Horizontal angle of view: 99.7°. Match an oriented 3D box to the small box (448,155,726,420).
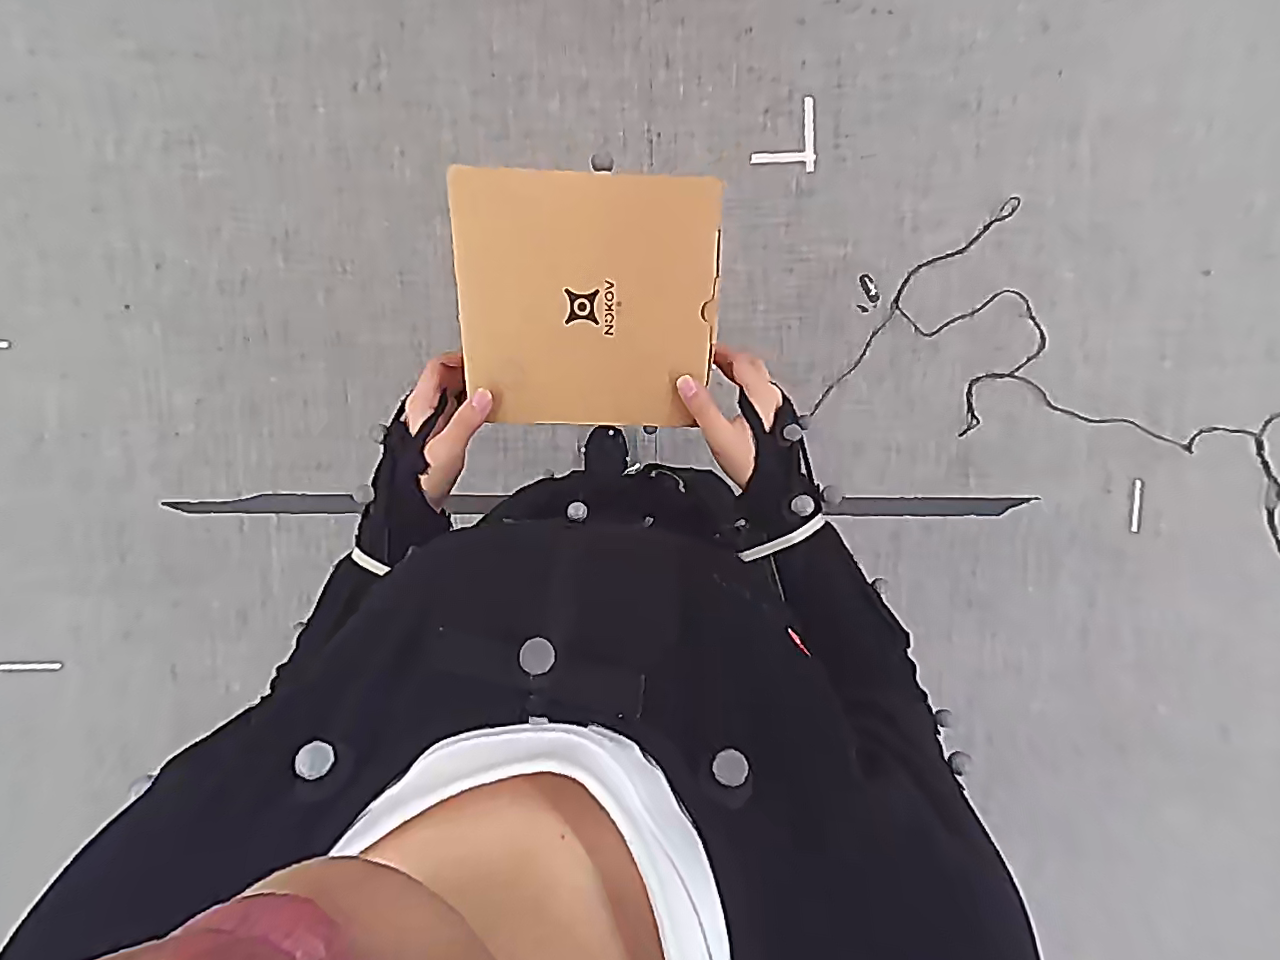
[{"bbox_3d":[-0.039,-0.150,0.438,0.179,0.176,0.168,0,112,-4],"label":"small box"}]
